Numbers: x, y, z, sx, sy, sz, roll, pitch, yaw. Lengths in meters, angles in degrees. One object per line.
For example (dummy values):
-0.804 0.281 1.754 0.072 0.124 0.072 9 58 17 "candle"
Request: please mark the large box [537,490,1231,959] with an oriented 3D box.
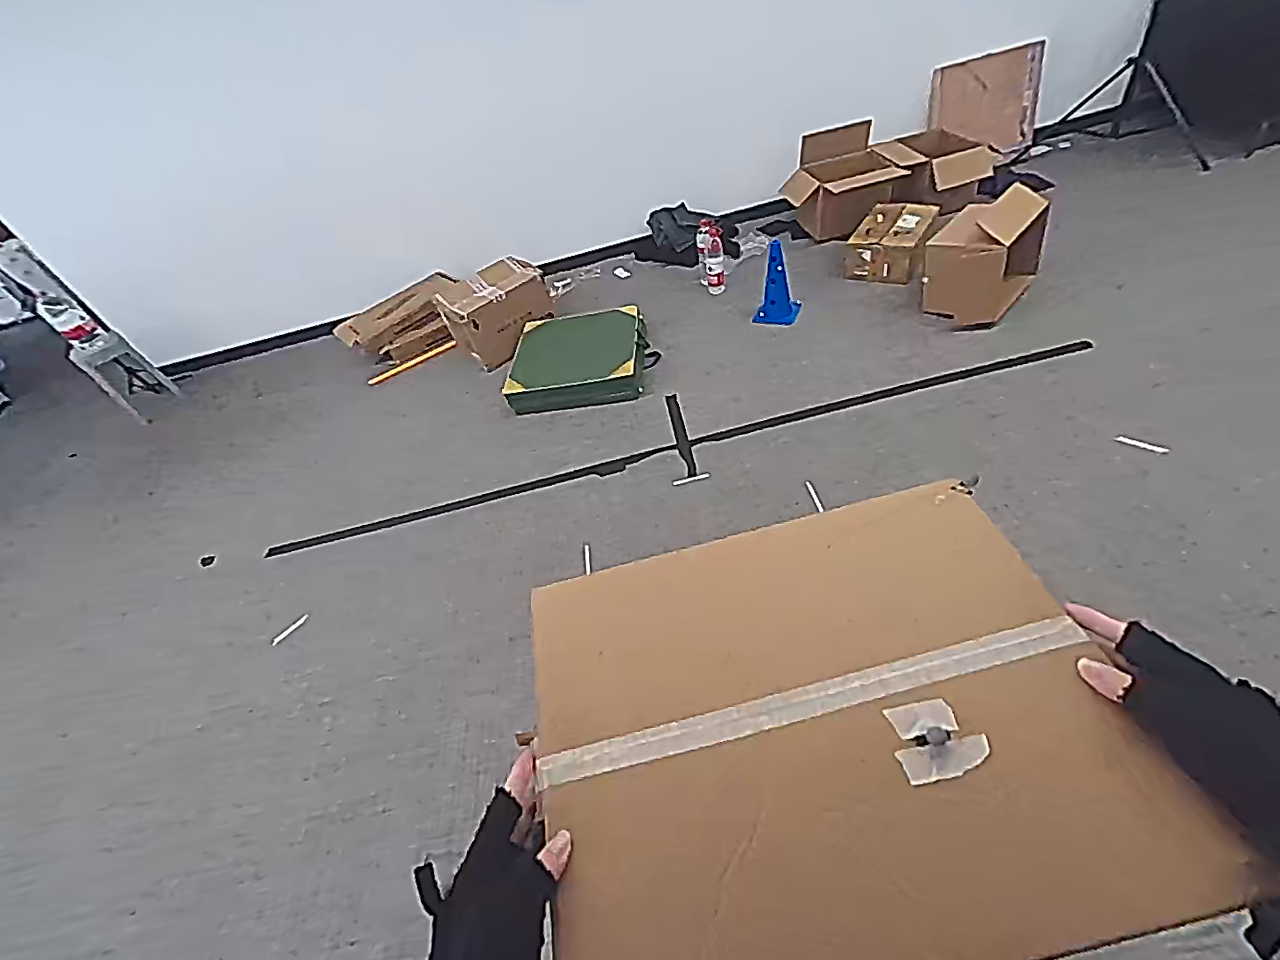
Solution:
0.148 0.266 0.518 0.408 0.320 0.320 -15 48 -1 "large box"
